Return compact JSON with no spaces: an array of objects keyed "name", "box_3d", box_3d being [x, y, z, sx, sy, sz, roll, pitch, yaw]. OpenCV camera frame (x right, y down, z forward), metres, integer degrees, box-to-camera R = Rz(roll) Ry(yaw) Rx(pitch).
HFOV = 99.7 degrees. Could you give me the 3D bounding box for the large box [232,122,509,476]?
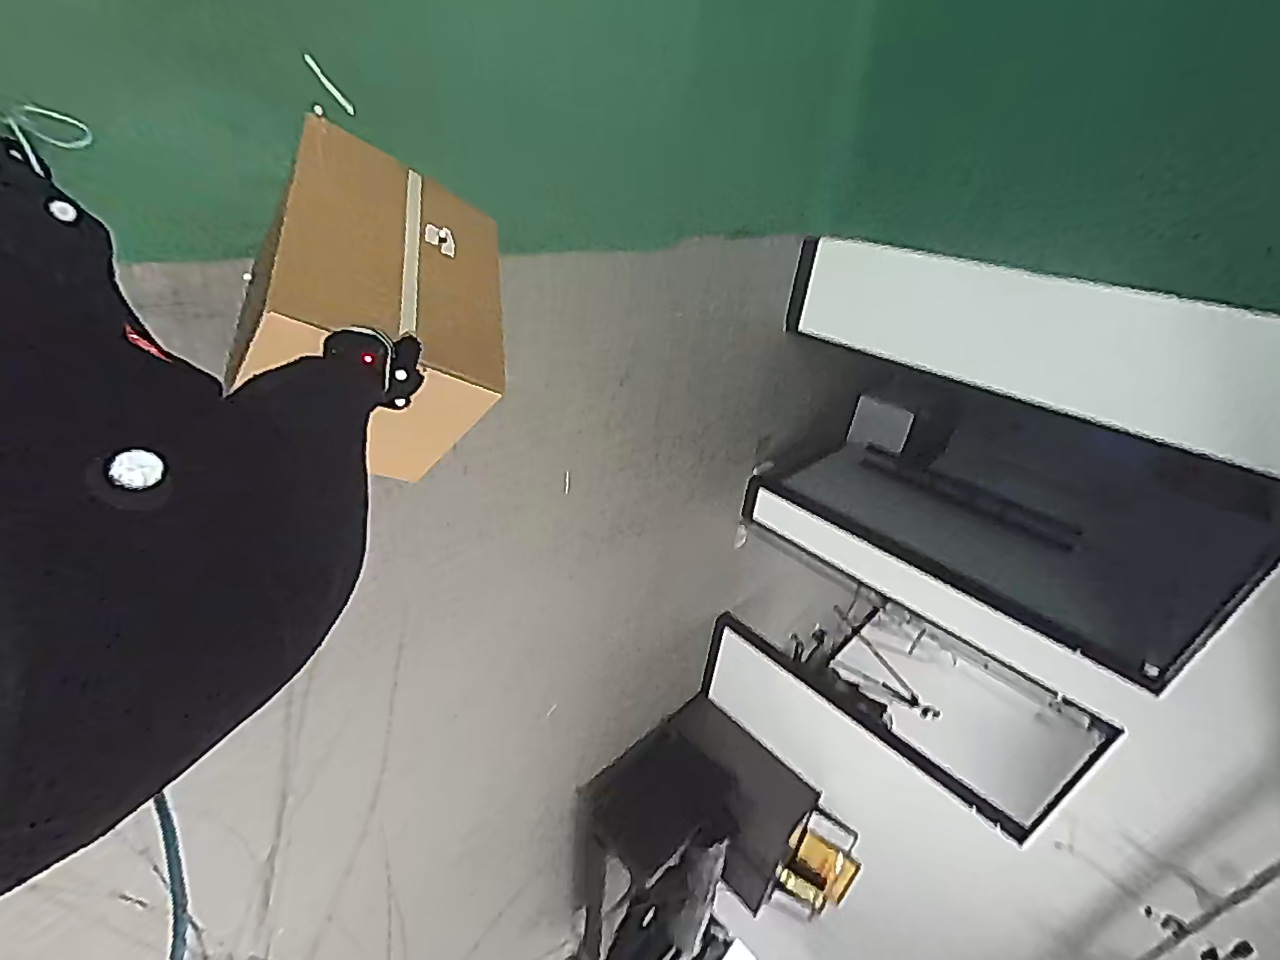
[{"name":"large box","box_3d":[-0.445,-0.268,0.907,0.320,0.408,0.320,16,142,-41]}]
